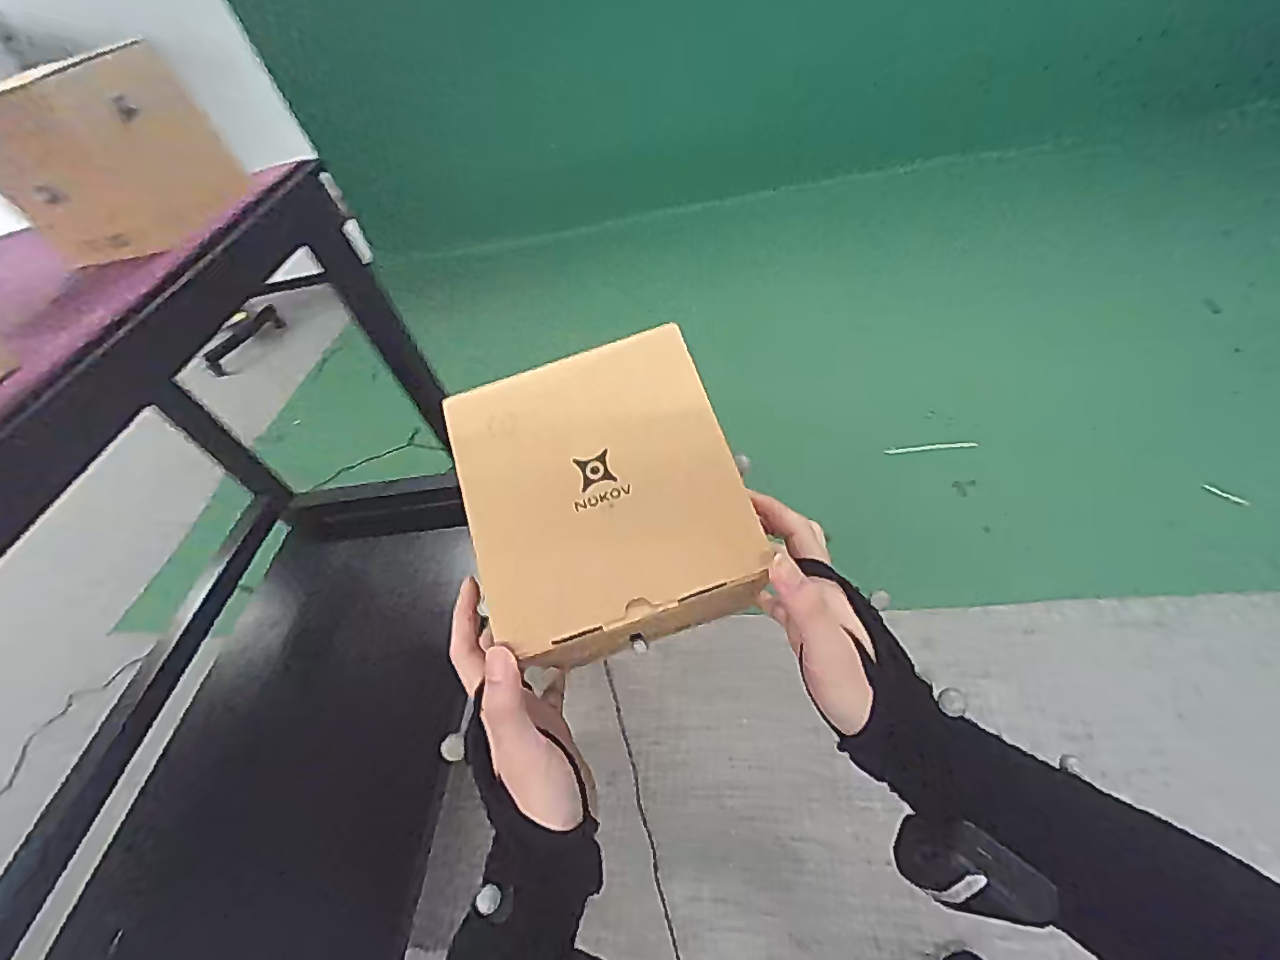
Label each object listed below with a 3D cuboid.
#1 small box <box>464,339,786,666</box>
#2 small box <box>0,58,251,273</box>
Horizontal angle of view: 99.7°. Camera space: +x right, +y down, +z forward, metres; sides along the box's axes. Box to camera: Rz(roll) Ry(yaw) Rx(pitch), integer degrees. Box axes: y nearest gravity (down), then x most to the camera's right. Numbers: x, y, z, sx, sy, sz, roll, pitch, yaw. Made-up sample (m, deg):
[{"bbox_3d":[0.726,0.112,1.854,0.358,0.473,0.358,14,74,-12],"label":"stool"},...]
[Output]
[{"bbox_3d":[-0.011,0.031,0.410,0.168,0.176,0.179,-18,70,-1],"label":"small box"},{"bbox_3d":[-0.628,-0.365,0.650,0.168,0.176,0.179,-2,49,14],"label":"small box"}]
